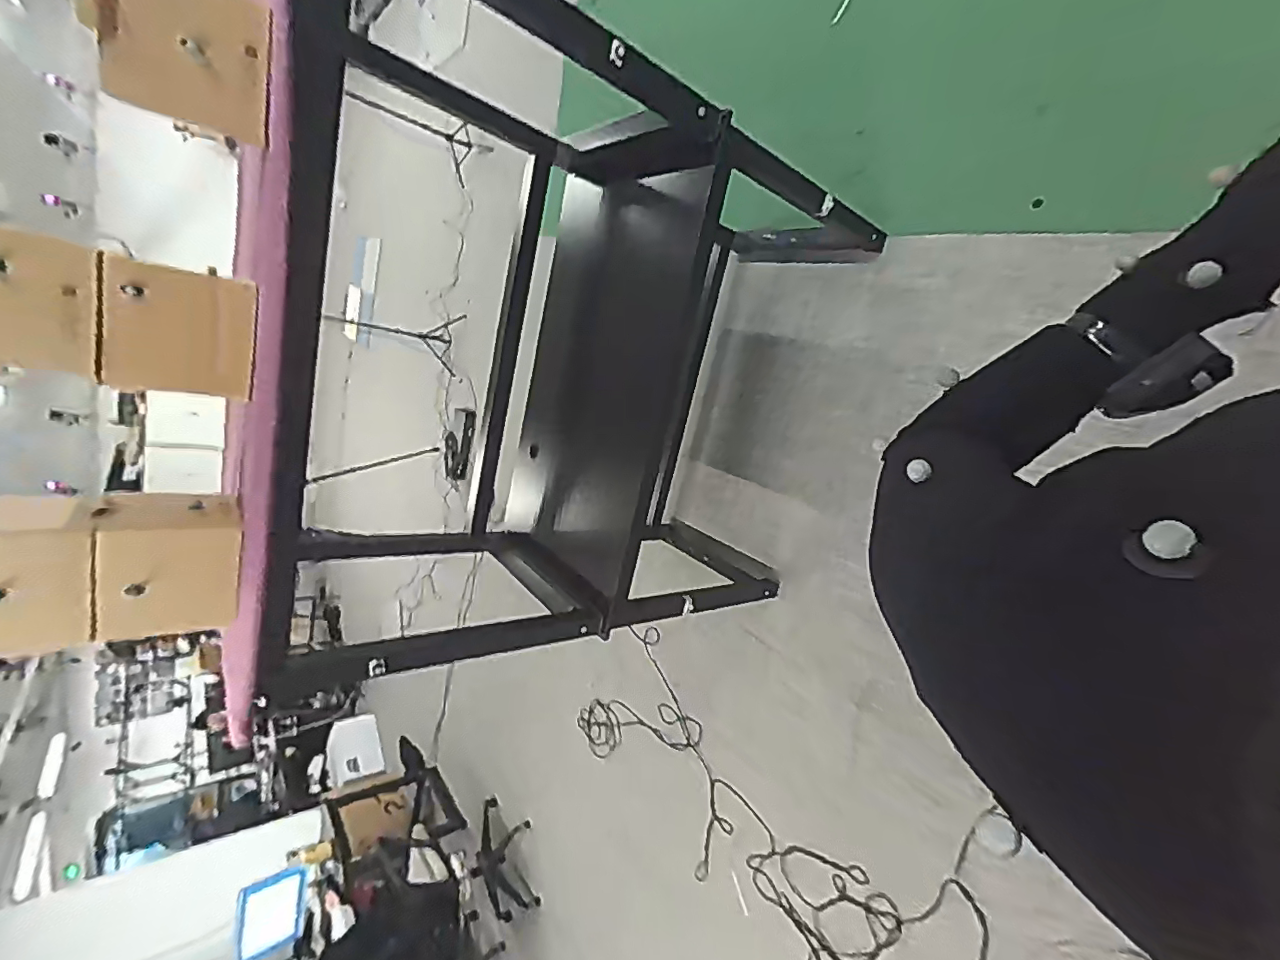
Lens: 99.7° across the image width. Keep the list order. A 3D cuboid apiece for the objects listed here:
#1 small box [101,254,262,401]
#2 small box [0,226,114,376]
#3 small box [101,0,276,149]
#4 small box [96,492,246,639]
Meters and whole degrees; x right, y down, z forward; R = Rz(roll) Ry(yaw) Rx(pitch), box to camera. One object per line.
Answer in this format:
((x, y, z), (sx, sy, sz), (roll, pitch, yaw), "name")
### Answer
((-0.675, -0.224, 0.810), (0.168, 0.176, 0.179), (27, 108, 48), "small box")
((-0.798, -0.237, 0.705), (0.179, 0.176, 0.168), (24, 104, 50), "small box")
((-0.600, -0.570, 0.732), (0.179, 0.176, 0.168), (37, 117, 46), "small box")
((-0.745, 0.127, 0.869), (0.168, 0.176, 0.179), (25, 107, 46), "small box")
